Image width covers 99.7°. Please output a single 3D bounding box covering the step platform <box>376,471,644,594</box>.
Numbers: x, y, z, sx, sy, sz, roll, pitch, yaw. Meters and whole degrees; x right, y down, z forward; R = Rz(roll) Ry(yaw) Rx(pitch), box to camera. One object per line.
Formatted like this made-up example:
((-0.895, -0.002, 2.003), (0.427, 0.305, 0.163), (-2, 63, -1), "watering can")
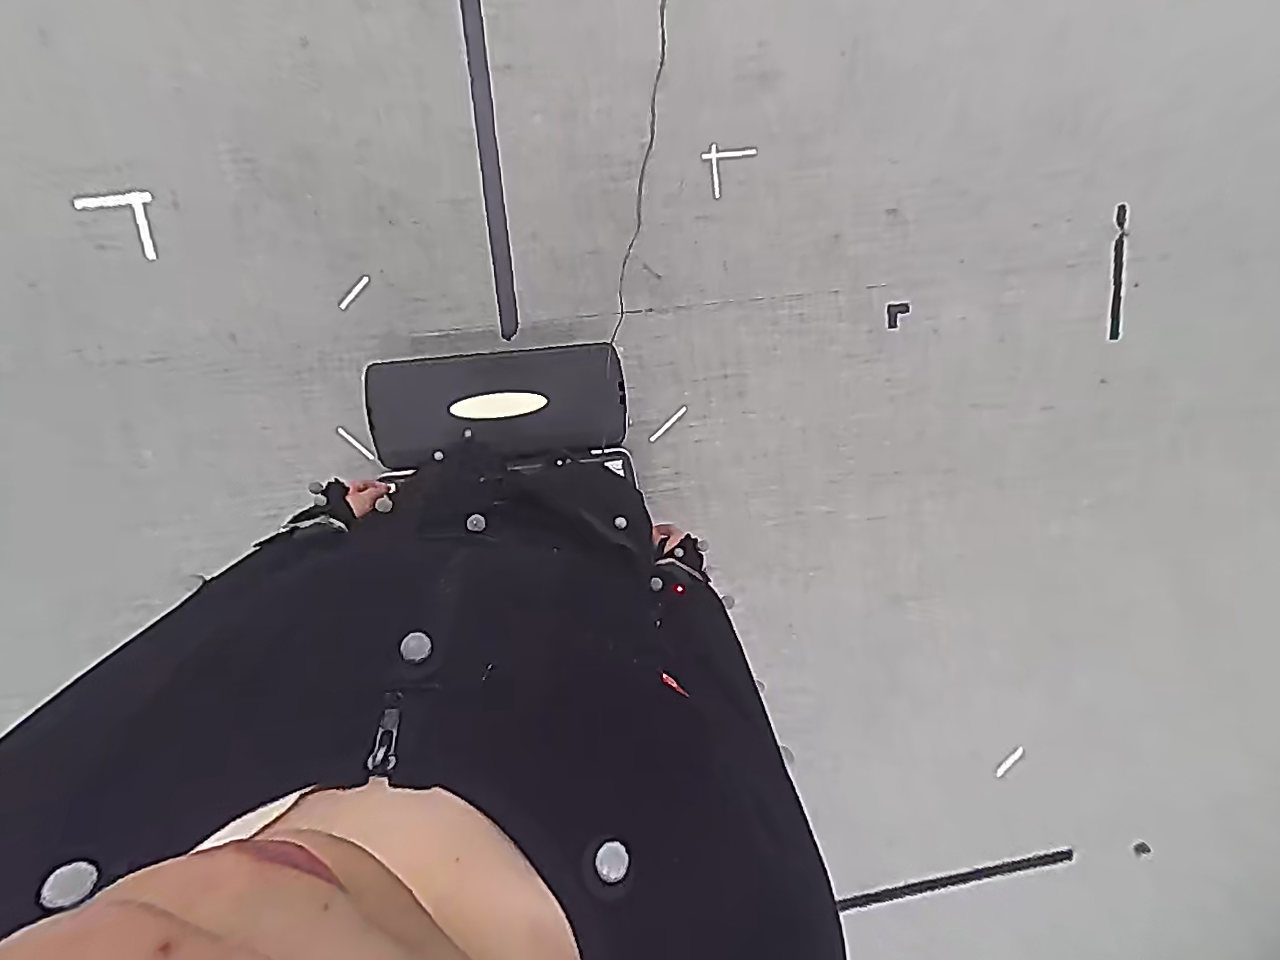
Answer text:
((-0.330, 0.136, 1.447), (0.684, 0.204, 0.286), (-2, 96, -5), "step platform")
